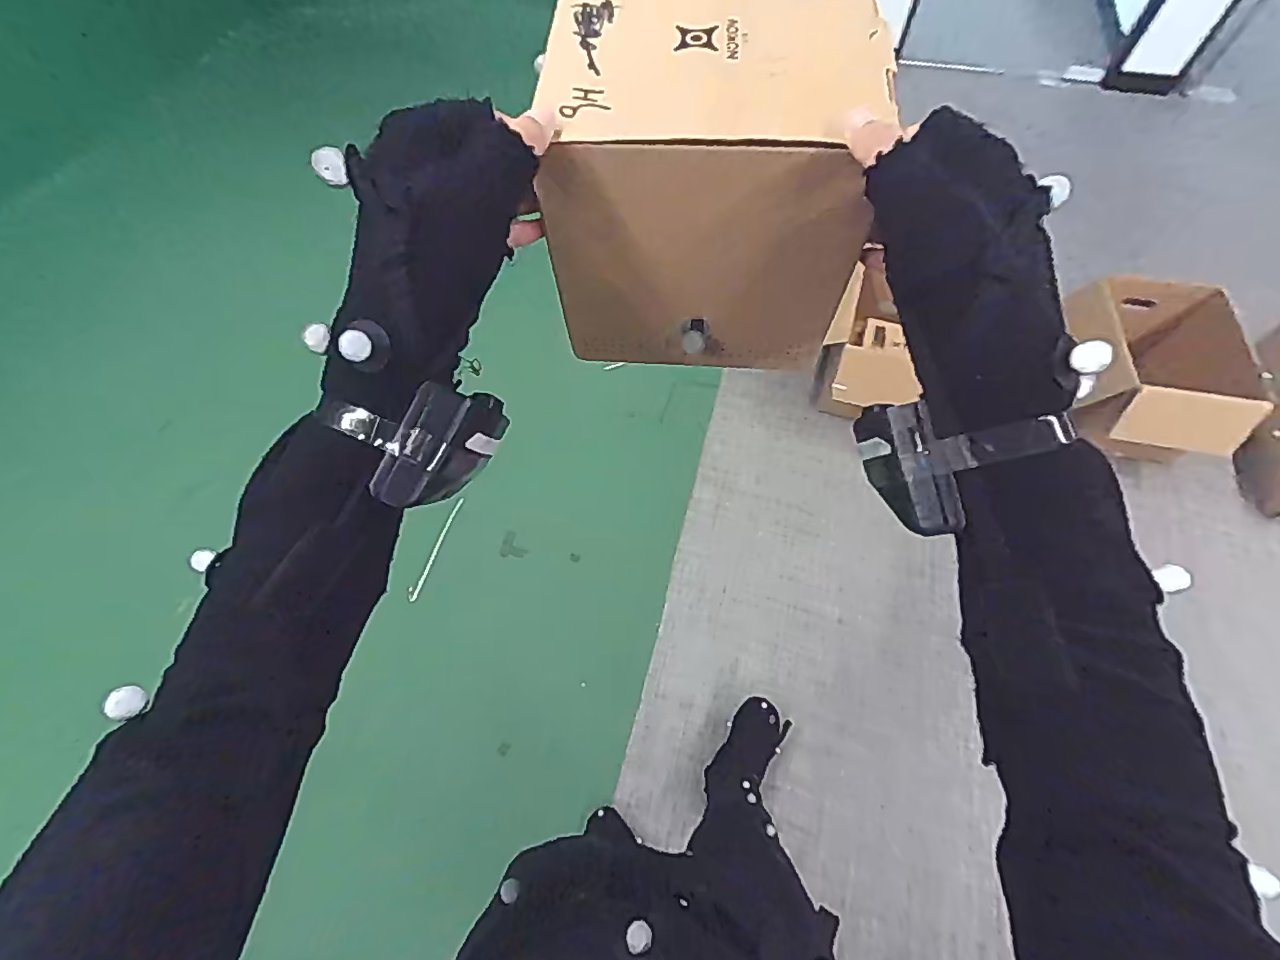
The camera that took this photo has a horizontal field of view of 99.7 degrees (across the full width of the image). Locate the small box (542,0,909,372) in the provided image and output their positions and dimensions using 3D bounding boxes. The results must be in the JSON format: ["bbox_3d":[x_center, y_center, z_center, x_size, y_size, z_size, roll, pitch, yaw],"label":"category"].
[{"bbox_3d":[0.048,-0.188,0.359,0.179,0.176,0.168,4,65,4],"label":"small box"}]
